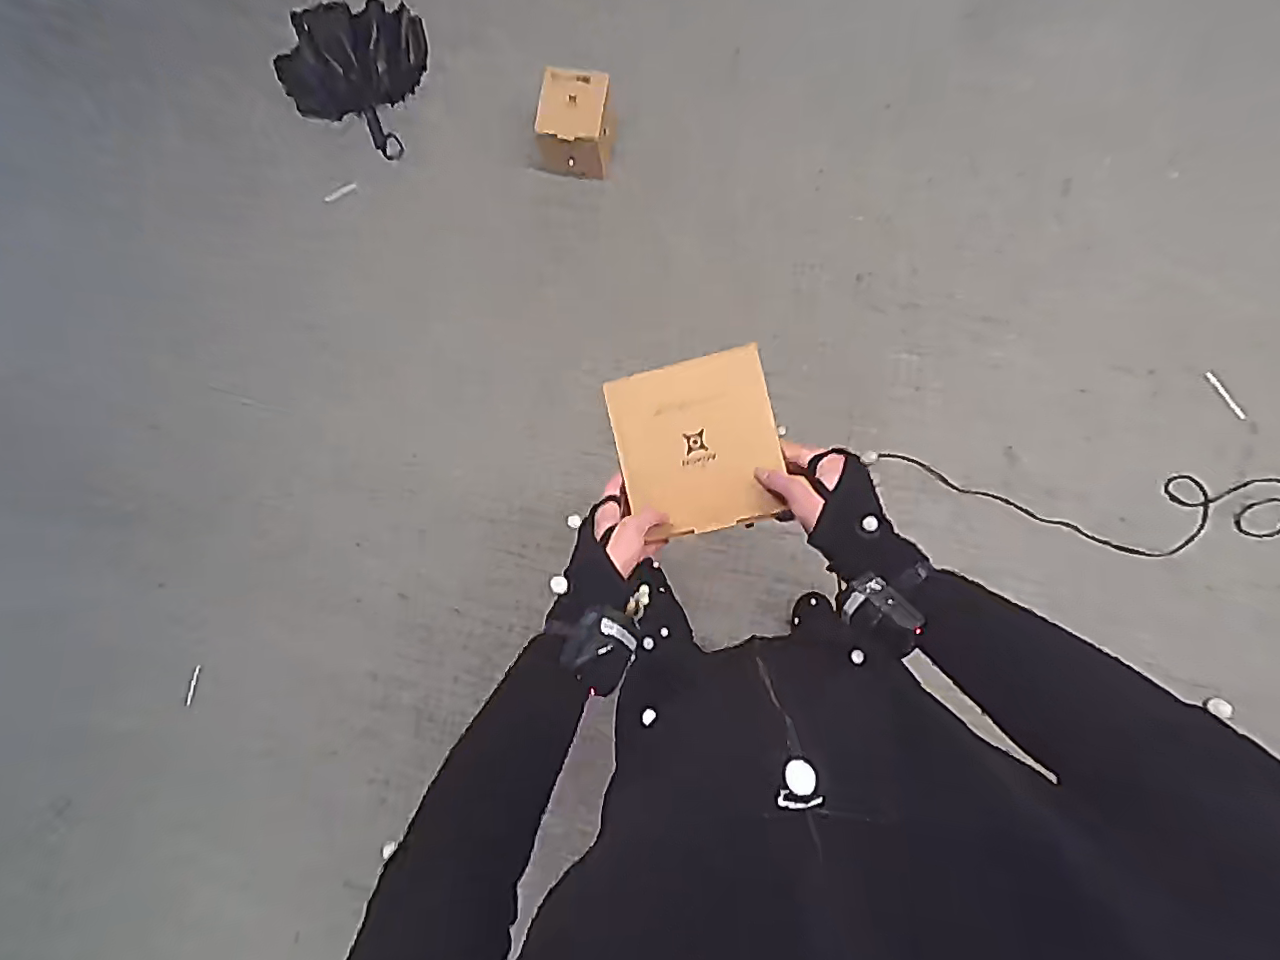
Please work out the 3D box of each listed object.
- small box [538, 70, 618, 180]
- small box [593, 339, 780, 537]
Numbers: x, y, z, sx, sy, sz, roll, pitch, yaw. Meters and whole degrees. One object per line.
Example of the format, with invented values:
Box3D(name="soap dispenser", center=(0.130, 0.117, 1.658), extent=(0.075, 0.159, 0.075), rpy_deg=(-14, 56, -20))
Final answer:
Box3D(name="small box", center=(-0.156, -0.930, 1.431), extent=(0.168, 0.176, 0.179), rpy_deg=(9, 88, 4))
Box3D(name="small box", center=(0.060, -0.042, 0.634), extent=(0.168, 0.176, 0.179), rpy_deg=(-14, 88, 9))
